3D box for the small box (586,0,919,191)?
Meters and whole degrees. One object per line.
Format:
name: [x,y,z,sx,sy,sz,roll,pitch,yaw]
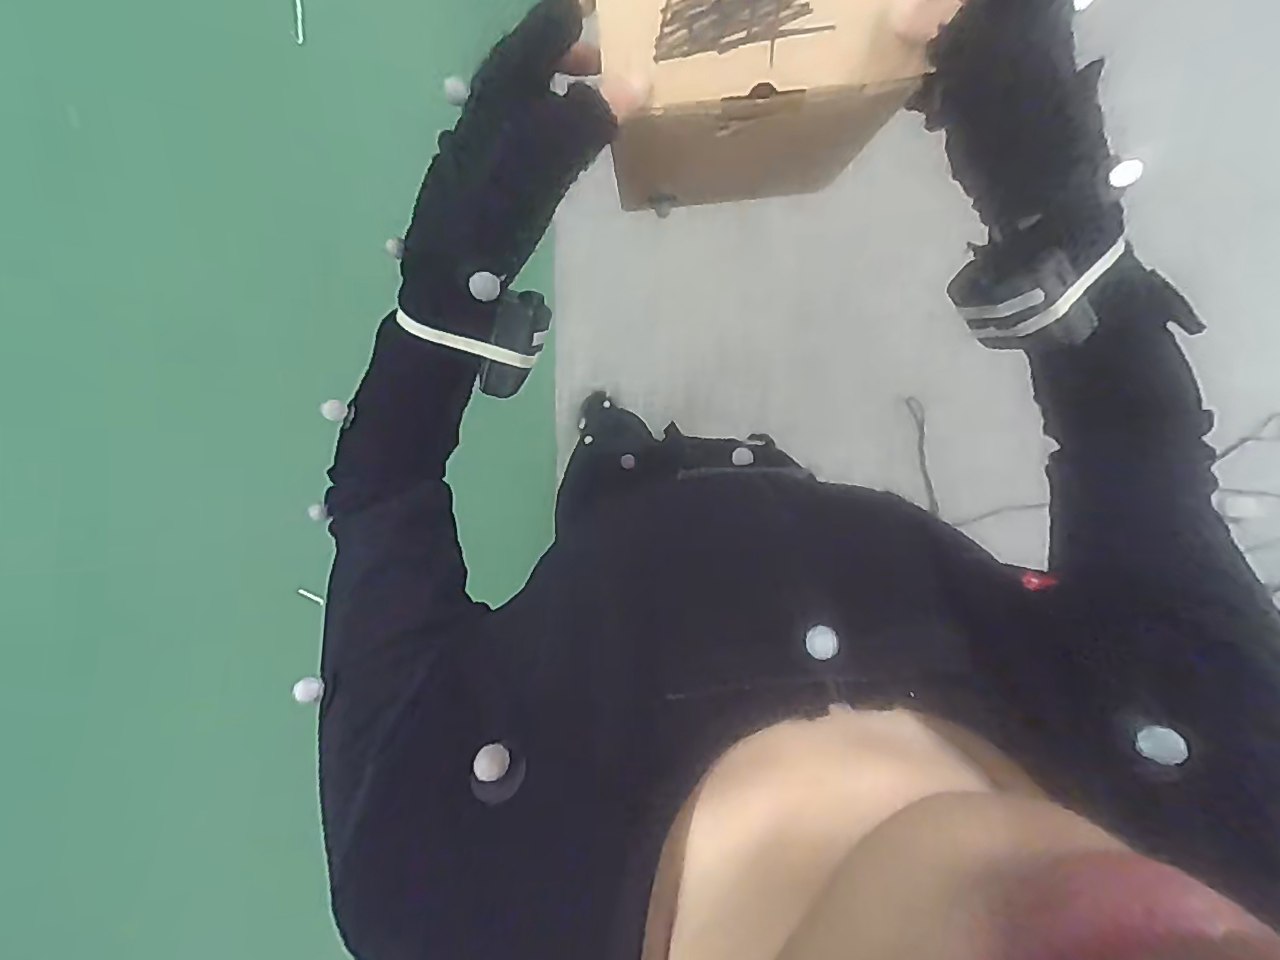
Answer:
small box: [0.054,-0.298,0.336,0.168,0.176,0.179,-4,100,2]
